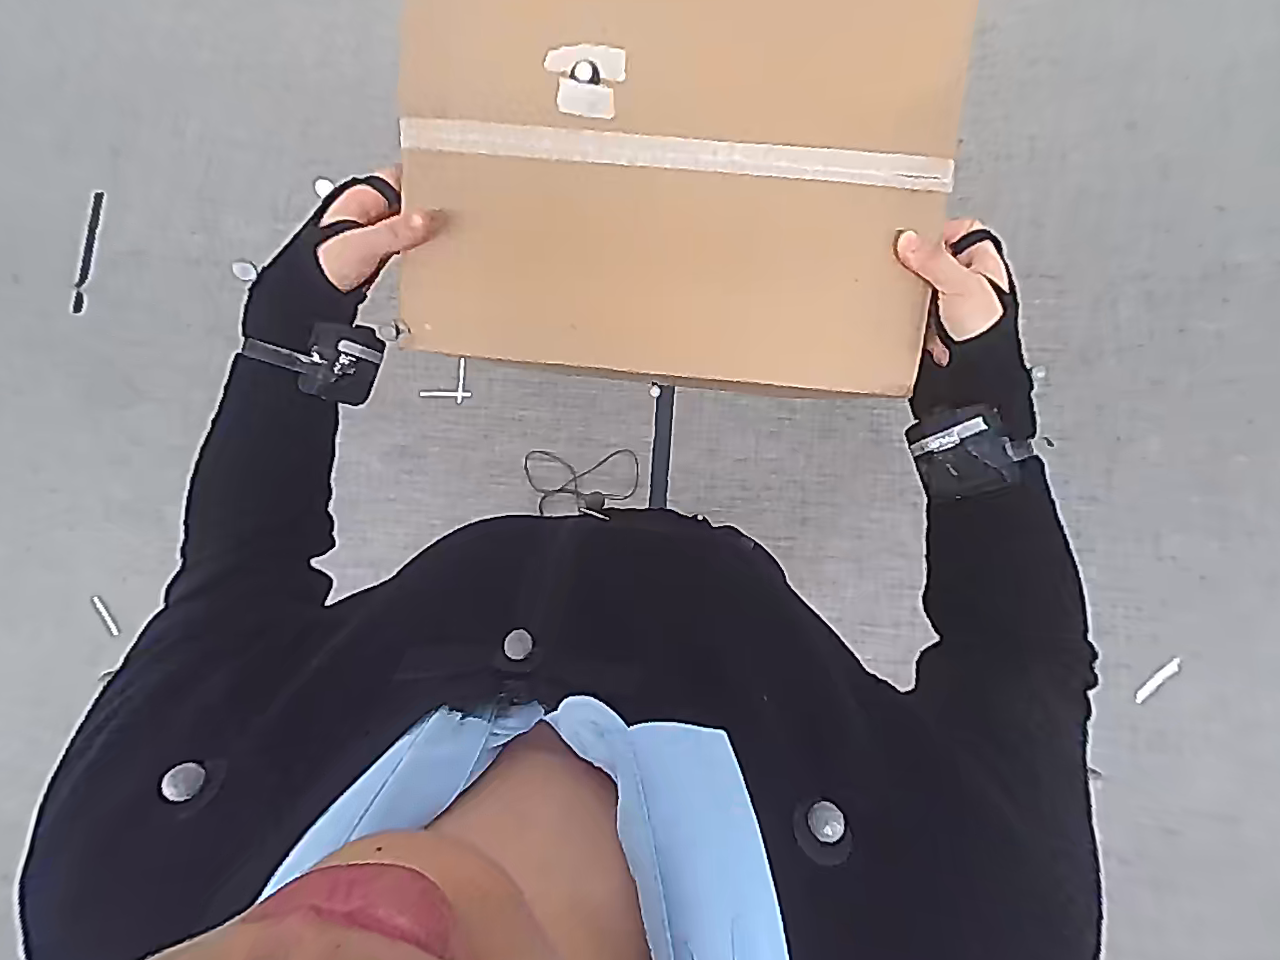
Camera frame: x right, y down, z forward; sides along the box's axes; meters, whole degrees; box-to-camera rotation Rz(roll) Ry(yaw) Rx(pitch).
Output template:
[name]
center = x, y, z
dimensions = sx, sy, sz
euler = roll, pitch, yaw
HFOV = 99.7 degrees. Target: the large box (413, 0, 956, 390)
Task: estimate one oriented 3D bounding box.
[large box]
center = 0.033, -0.259, 0.561
dimensions = 0.408, 0.320, 0.320
euler = 5, 97, 3
